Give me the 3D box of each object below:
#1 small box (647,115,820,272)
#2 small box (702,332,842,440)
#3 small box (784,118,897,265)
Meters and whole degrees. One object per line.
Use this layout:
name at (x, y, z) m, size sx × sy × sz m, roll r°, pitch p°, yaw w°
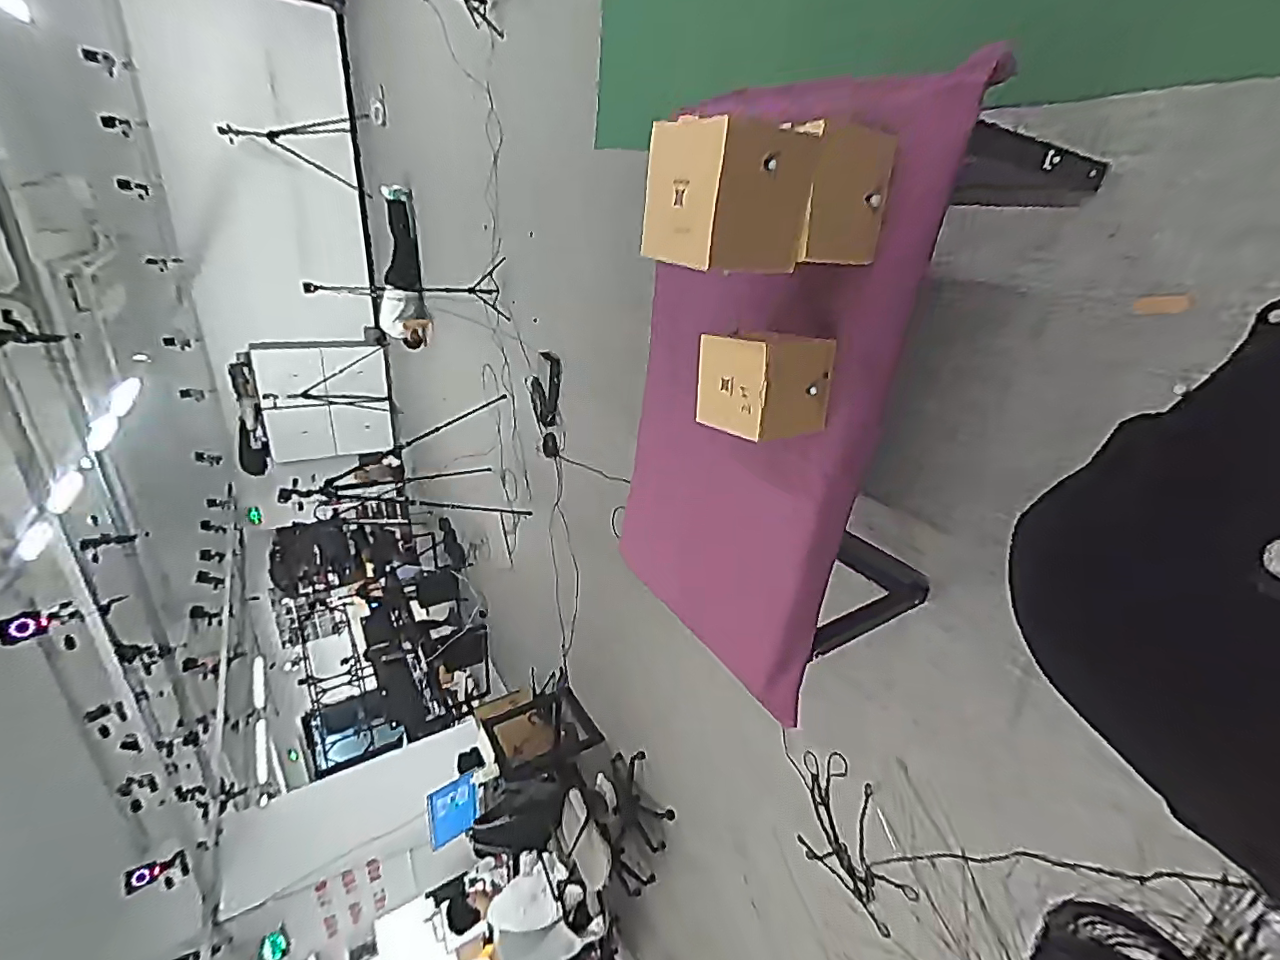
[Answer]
small box at (0.131, -0.403, 0.775) m, size 0.168 × 0.176 × 0.179 m, roll 39°, pitch 133°, yaw 47°
small box at (0.237, -0.182, 0.994) m, size 0.179 × 0.176 × 0.168 m, roll 29°, pitch 125°, yaw 53°
small box at (0.273, -0.439, 0.849) m, size 0.168 × 0.176 × 0.179 m, roll 32°, pitch 126°, yaw 51°
